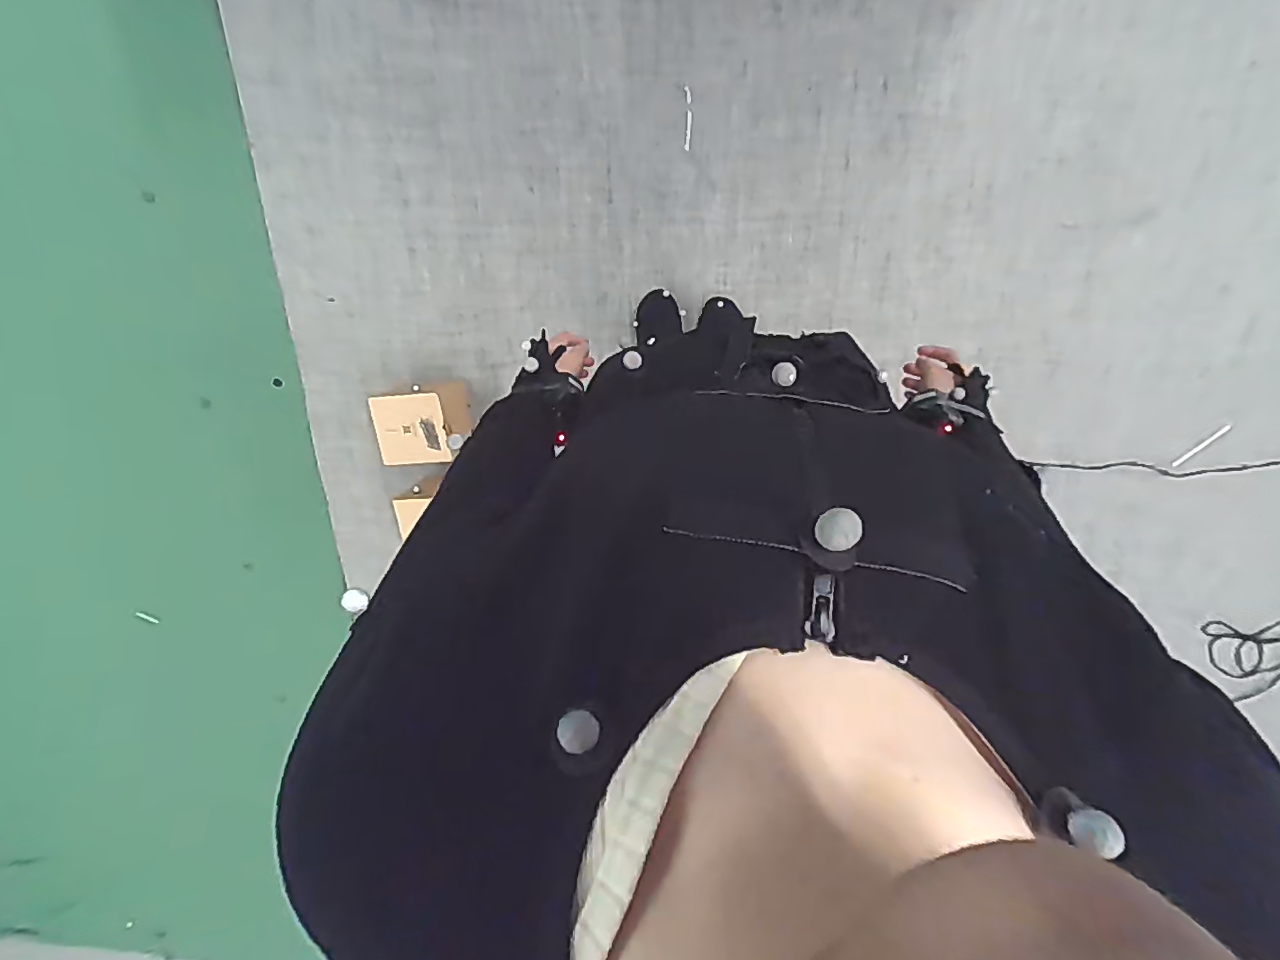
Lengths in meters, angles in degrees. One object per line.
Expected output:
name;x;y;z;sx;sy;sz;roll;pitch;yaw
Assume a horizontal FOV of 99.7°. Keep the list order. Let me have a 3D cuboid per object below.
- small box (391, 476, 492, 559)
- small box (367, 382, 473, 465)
small box;-0.507;0.093;1.401;0.179;0.176;0.168;-3;109;6
small box;-0.525;-0.142;1.322;0.179;0.176;0.168;-3;108;7
